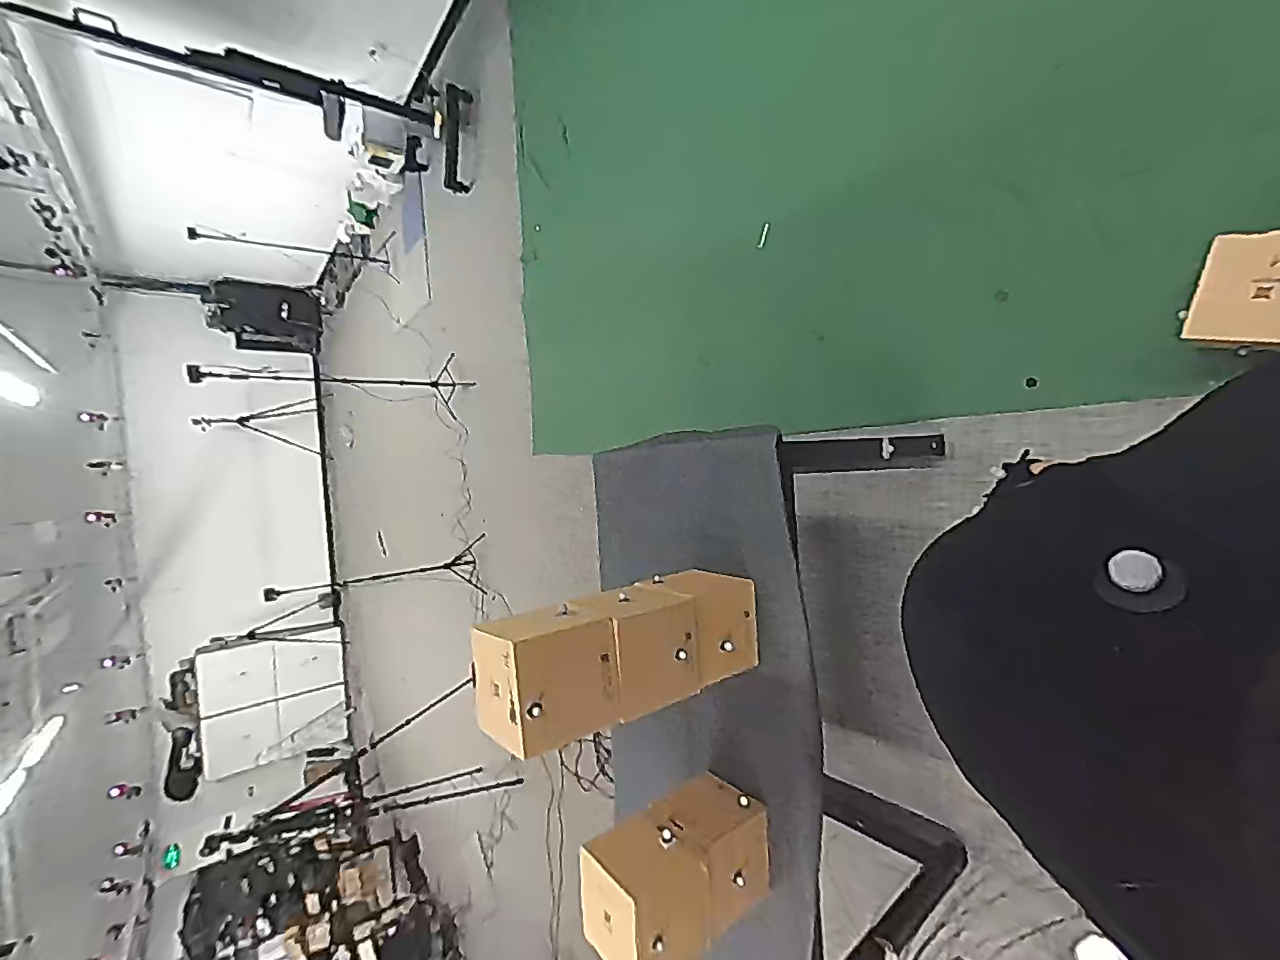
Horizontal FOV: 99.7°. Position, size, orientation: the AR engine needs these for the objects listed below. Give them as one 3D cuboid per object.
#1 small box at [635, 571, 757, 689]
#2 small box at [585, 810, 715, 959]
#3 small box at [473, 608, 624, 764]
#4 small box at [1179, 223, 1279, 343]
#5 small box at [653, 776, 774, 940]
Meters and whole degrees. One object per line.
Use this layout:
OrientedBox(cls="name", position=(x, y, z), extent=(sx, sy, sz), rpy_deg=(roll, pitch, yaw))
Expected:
OrientedBox(cls="small box", position=(0.113, 0.277, 1.048), extent=(0.179, 0.176, 0.168), rpy_deg=(-2, 93, 53))
OrientedBox(cls="small box", position=(0.020, 0.737, 0.959), extent=(0.168, 0.176, 0.179), rpy_deg=(1, 94, 51))
OrientedBox(cls="small box", position=(-0.146, 0.305, 0.847), extent=(0.179, 0.176, 0.168), rpy_deg=(-8, 89, 53))
OrientedBox(cls="small box", position=(1.082, -0.333, 0.931), extent=(0.168, 0.176, 0.179), rpy_deg=(22, 111, 47))
OrientedBox(cls="small box", position=(0.145, 0.722, 1.061), extent=(0.168, 0.176, 0.179), rpy_deg=(-1, 94, 52))
